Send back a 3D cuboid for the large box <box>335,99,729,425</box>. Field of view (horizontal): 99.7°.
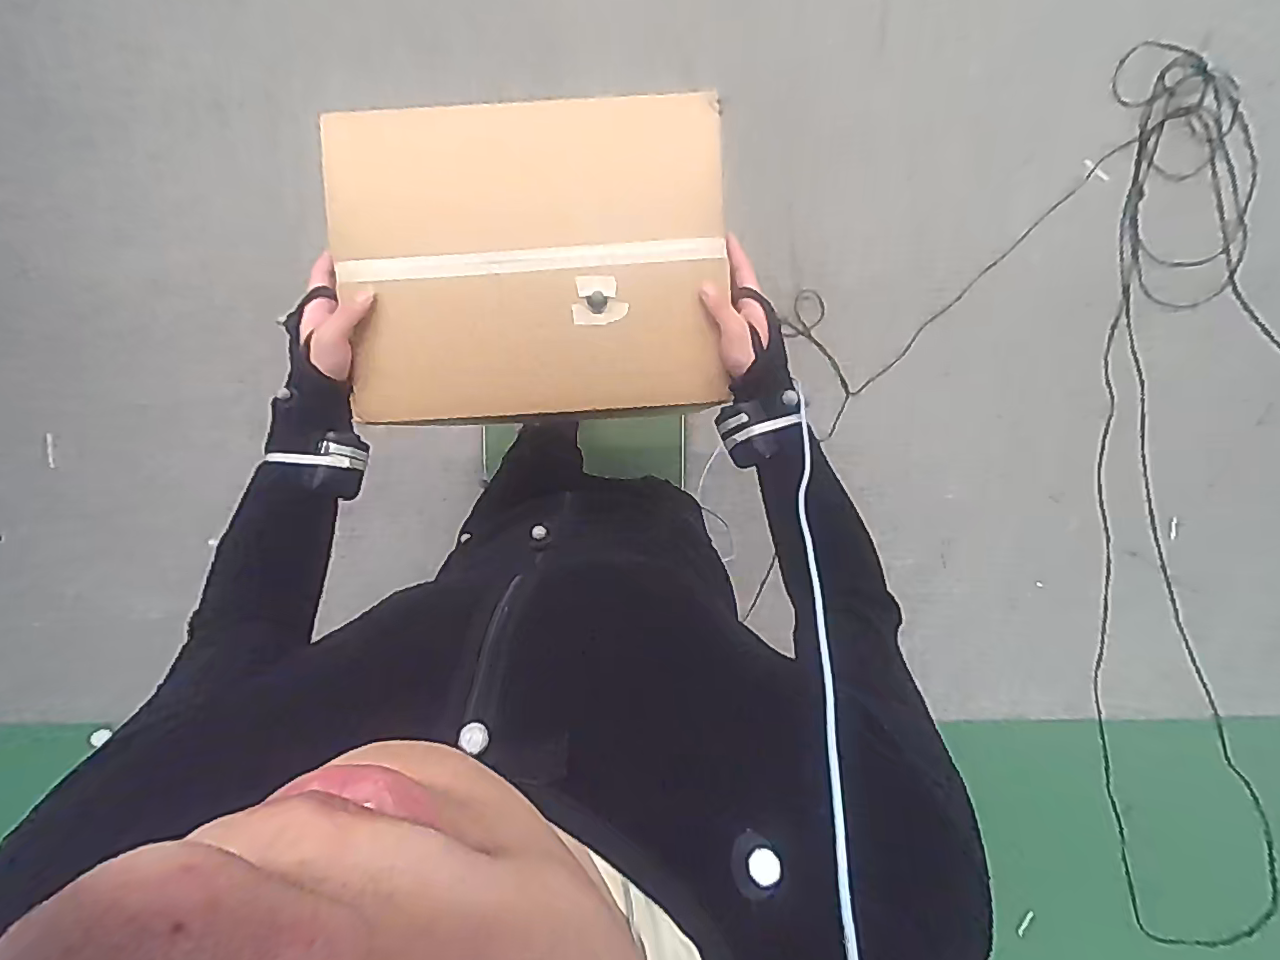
[{"bbox_3d":[-0.115,-0.245,0.722,0.408,0.320,0.320,-3,96,-1],"label":"large box"}]
